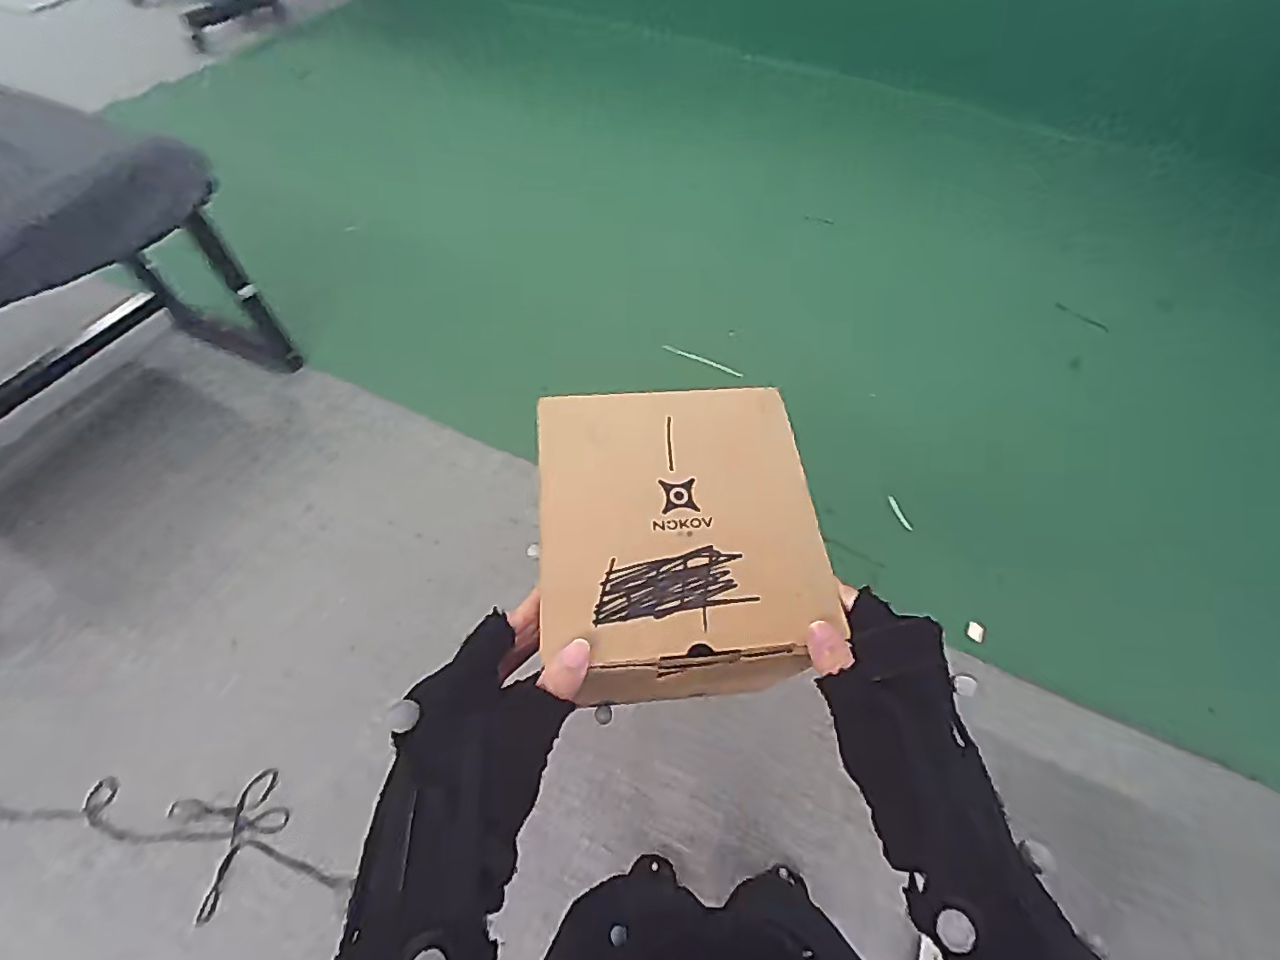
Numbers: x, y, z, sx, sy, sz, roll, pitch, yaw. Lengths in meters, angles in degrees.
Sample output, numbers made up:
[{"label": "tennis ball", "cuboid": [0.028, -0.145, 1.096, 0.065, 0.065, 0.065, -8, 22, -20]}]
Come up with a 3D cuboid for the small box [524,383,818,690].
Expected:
[{"label": "small box", "cuboid": [0.008, 0.051, 0.402, 0.168, 0.176, 0.179, -4, 60, -6]}]
